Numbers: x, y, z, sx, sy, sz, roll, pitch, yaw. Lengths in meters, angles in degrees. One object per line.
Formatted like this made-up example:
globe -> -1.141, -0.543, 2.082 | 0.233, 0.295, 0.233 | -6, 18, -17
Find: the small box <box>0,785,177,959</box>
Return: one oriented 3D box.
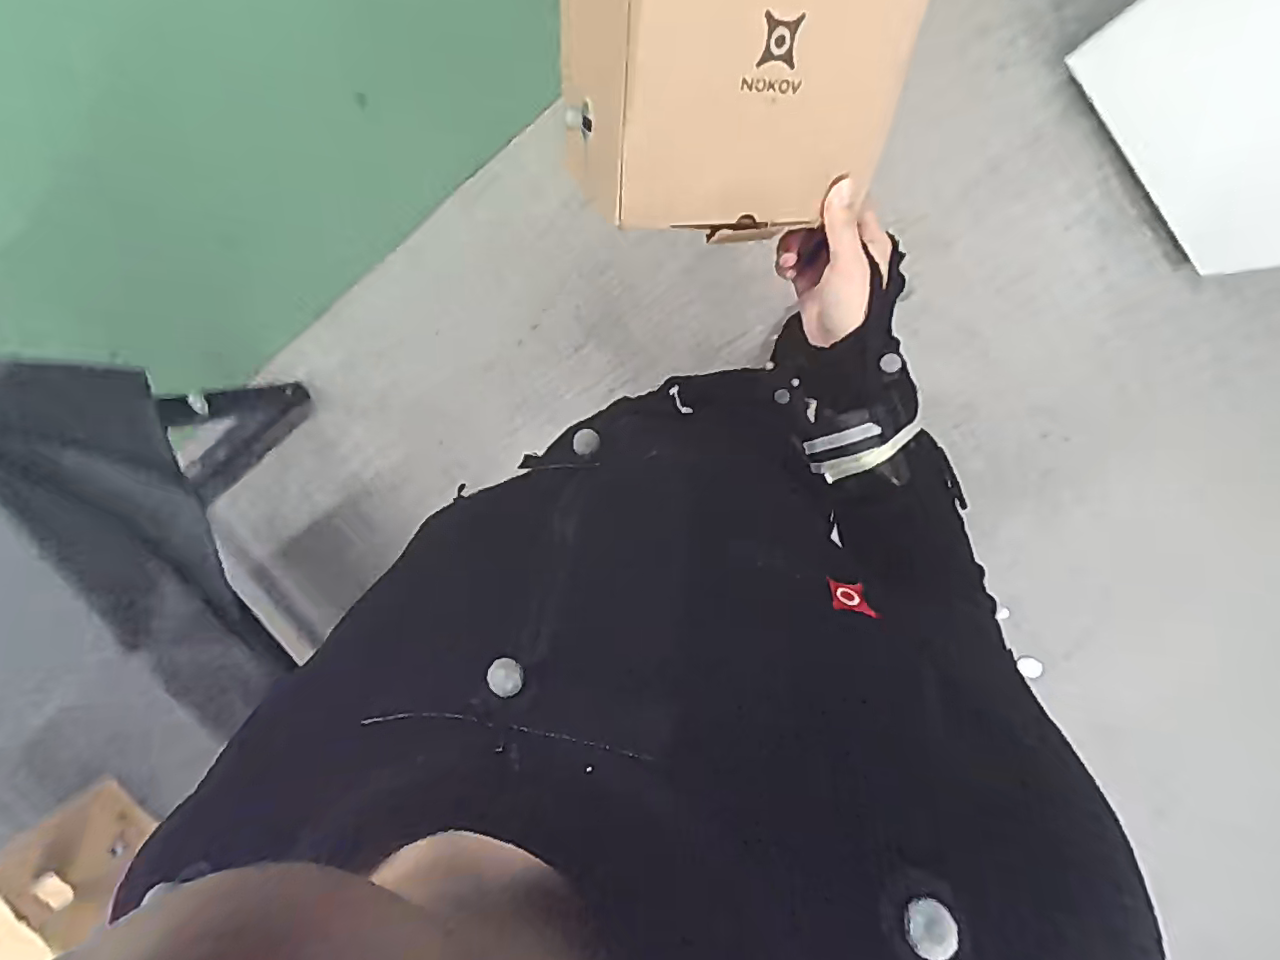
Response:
small box -> -0.854, 0.601, 0.799 | 0.179, 0.176, 0.168 | -34, 97, 14
